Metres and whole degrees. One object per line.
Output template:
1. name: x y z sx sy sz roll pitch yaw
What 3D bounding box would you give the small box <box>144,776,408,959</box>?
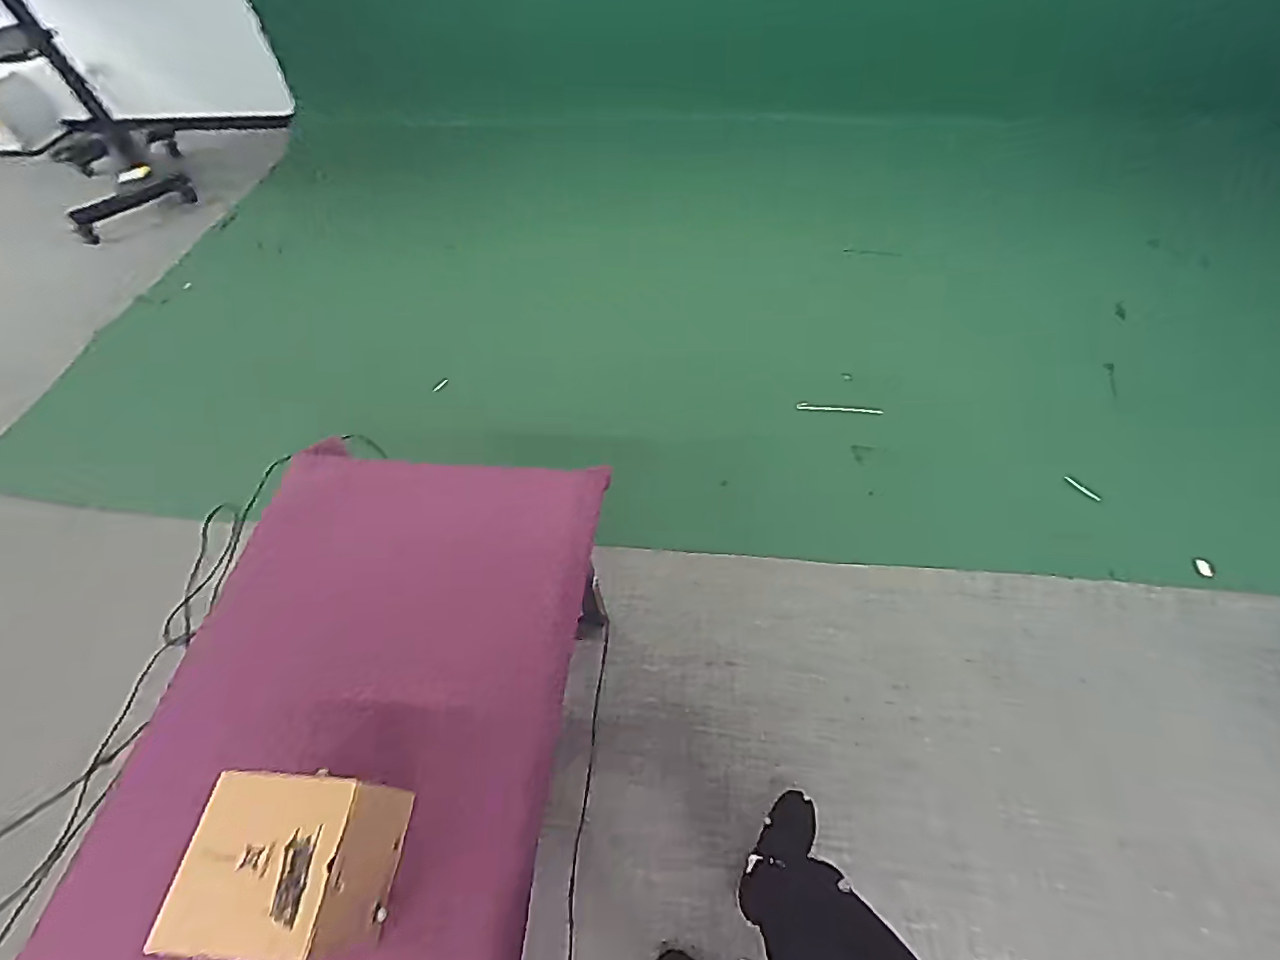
1. small box: -0.412 0.467 0.655 0.179 0.176 0.168 1 55 5
